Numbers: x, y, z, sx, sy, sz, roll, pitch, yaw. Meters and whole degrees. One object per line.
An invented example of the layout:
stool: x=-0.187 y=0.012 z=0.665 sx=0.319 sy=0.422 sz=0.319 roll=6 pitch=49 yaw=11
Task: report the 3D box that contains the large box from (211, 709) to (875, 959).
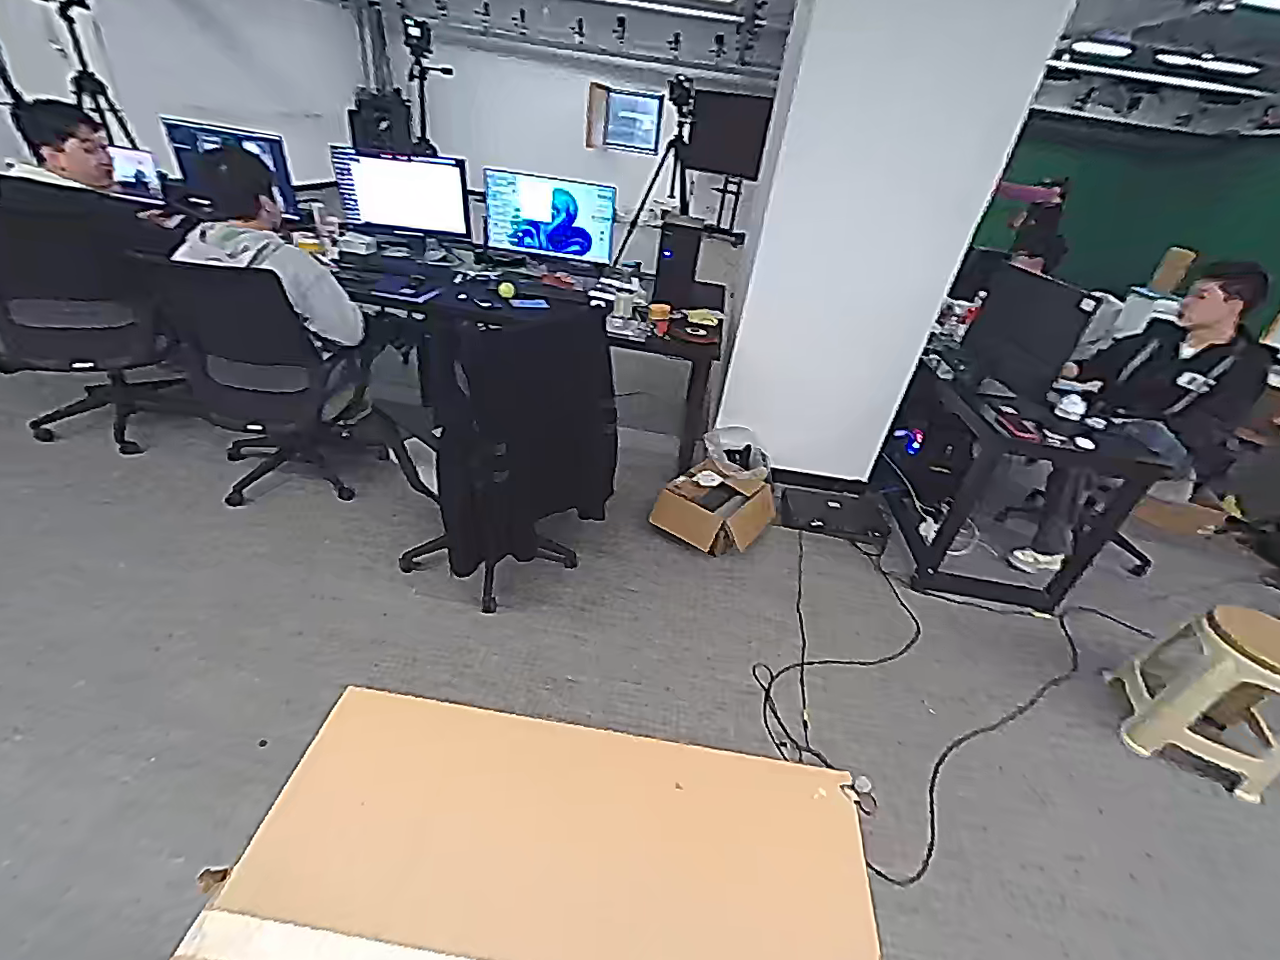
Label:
large box: x=-0.069 y=0.418 z=0.404 sx=0.408 sy=0.320 sz=0.320 roll=9 pitch=39 yaw=1
